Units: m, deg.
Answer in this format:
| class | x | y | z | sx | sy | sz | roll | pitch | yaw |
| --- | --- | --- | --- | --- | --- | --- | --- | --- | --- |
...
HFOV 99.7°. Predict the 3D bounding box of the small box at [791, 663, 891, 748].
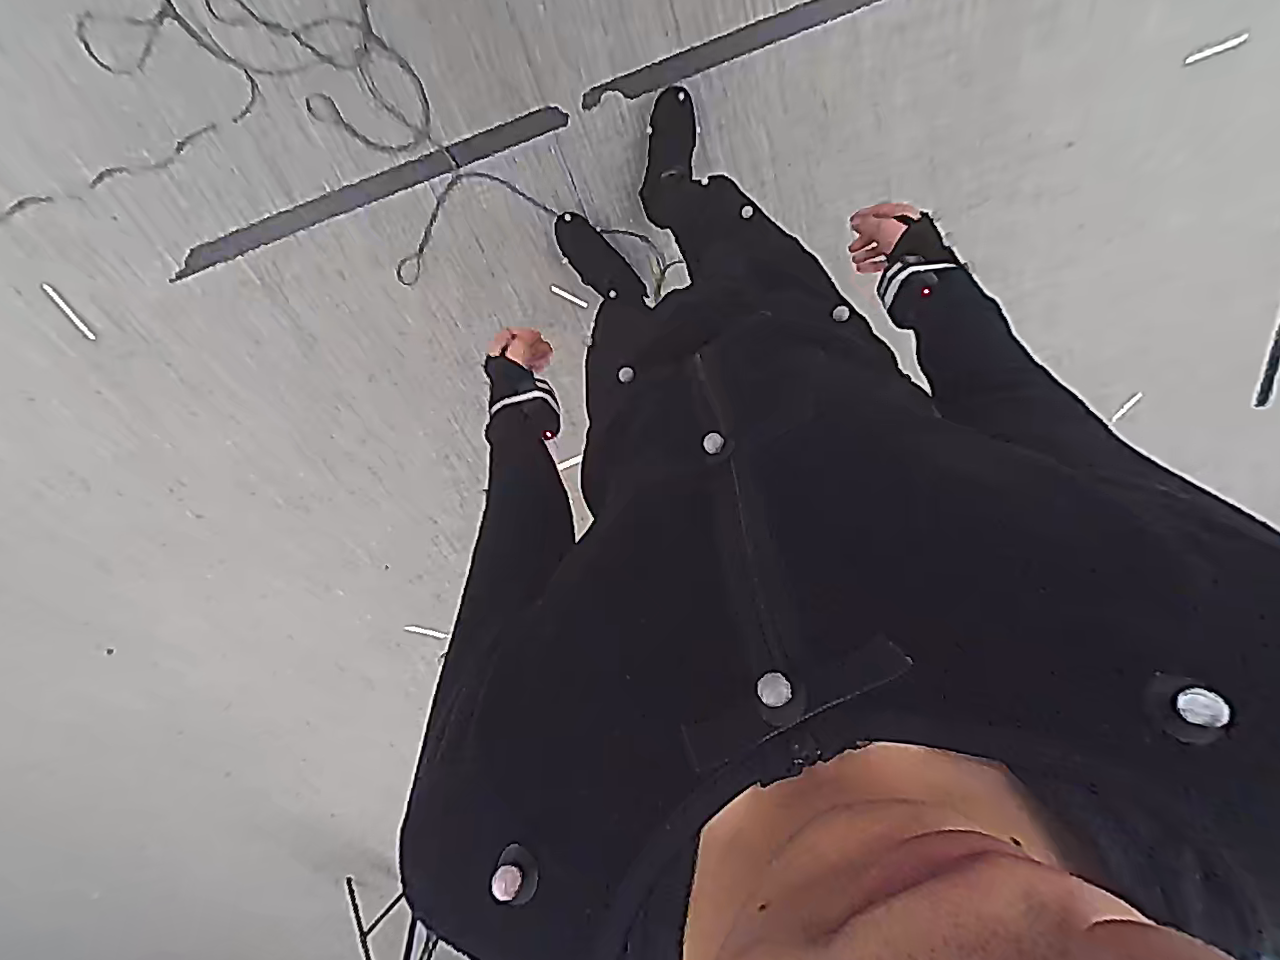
| class | x | y | z | sx | sy | sz | roll | pitch | yaw |
| --- | --- | --- | --- | --- | --- | --- | --- | --- | --- |
| small box | 0.523 | 0.613 | 1.420 | 0.179 | 0.176 | 0.168 | -24 | 120 | 6 |
